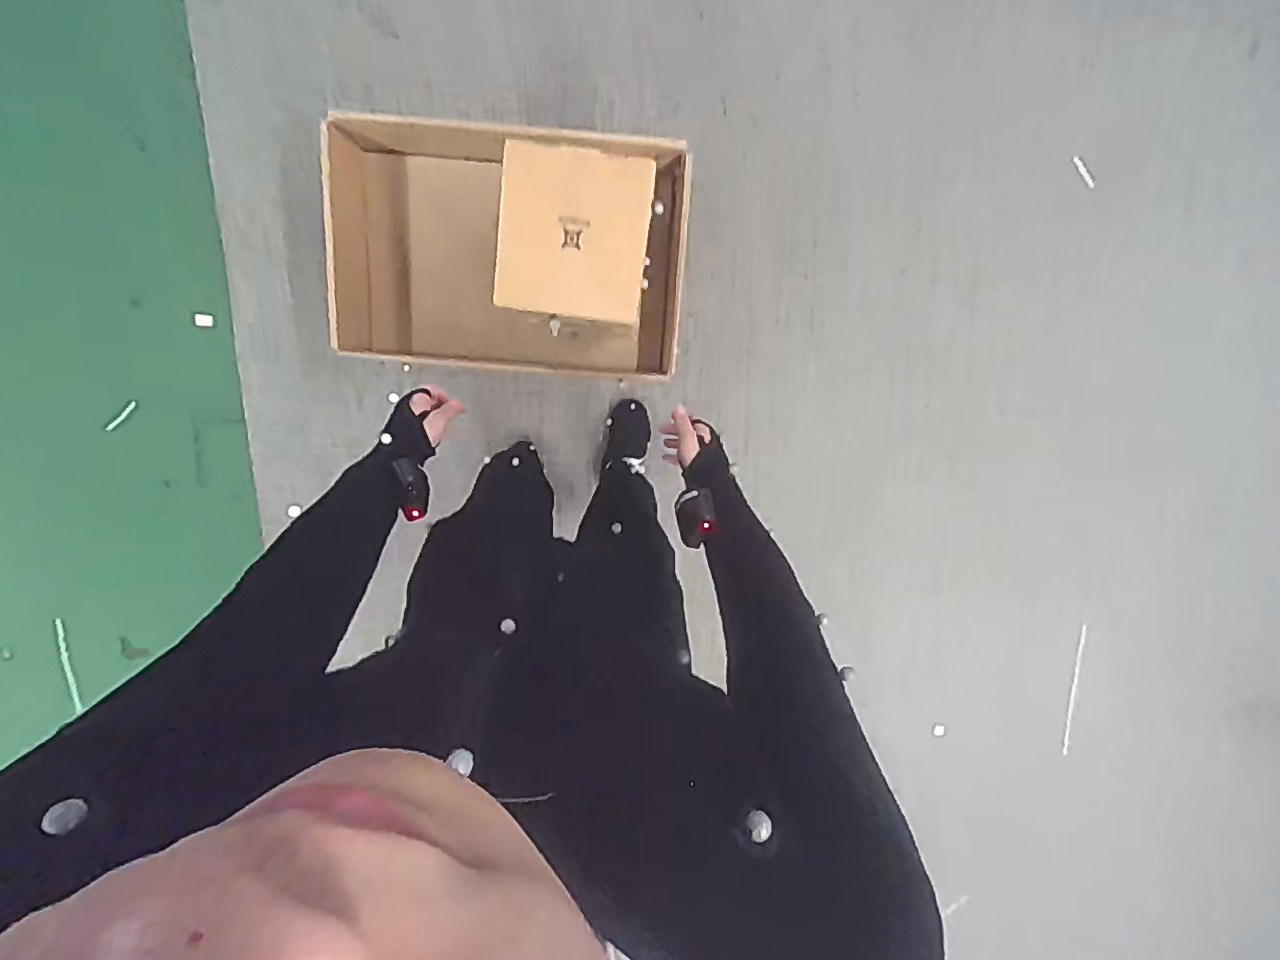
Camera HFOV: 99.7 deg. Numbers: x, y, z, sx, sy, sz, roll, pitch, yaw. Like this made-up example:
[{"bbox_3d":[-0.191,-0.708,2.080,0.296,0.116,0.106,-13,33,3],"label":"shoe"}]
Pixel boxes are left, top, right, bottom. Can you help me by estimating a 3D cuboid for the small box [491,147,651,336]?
[{"bbox_3d":[-0.079,-0.283,0.681,0.168,0.176,0.179,7,101,-2],"label":"small box"}]
